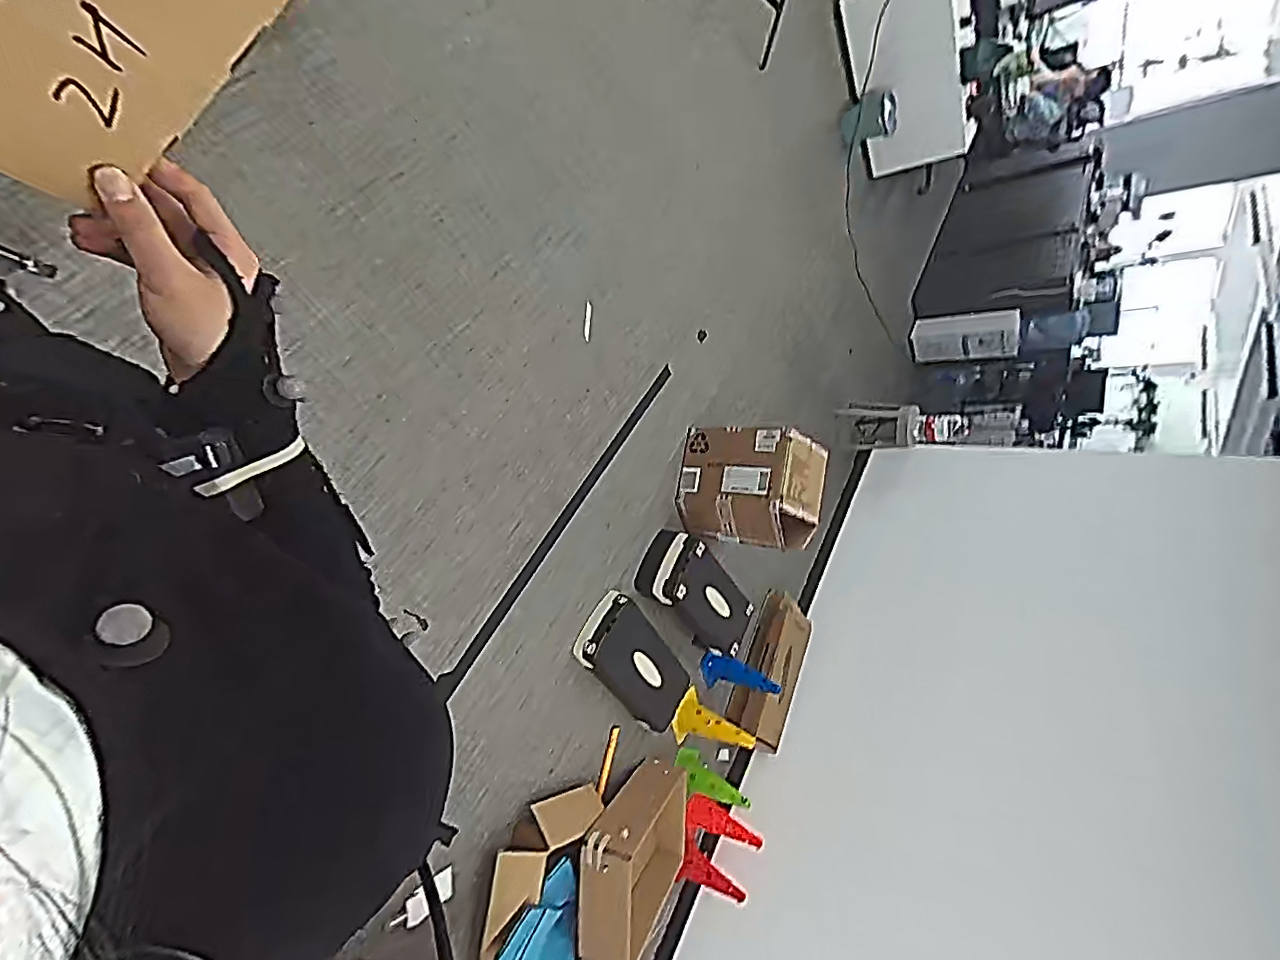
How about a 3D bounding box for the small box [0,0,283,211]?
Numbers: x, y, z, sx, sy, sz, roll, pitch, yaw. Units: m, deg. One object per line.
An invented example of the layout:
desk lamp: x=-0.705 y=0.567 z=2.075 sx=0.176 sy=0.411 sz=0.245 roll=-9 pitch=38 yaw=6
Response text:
small box: x=-0.302 y=-0.261 z=0.213 sx=0.168 sy=0.176 sz=0.179 roll=-45 pitch=169 yaw=5
